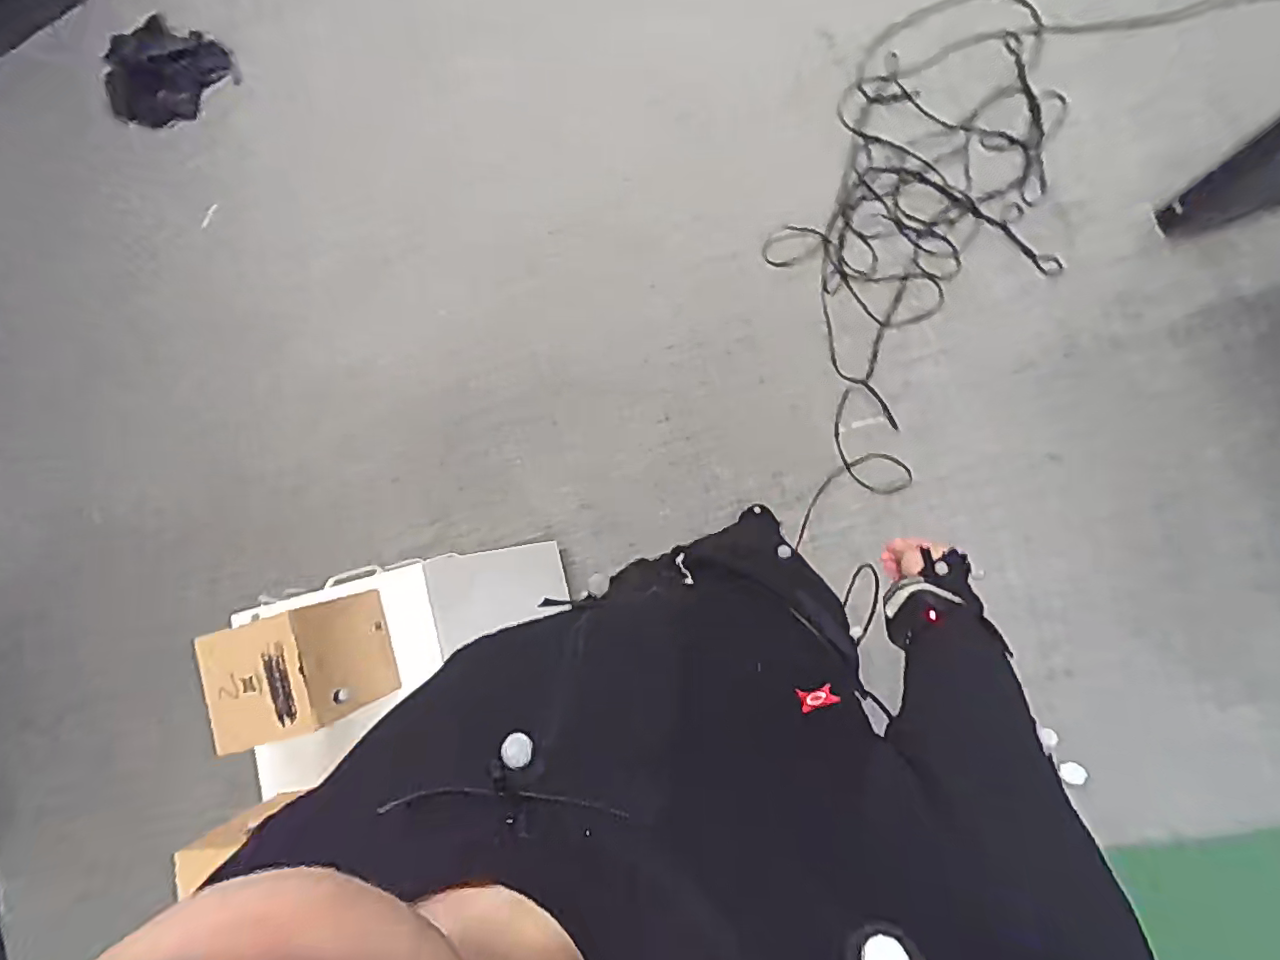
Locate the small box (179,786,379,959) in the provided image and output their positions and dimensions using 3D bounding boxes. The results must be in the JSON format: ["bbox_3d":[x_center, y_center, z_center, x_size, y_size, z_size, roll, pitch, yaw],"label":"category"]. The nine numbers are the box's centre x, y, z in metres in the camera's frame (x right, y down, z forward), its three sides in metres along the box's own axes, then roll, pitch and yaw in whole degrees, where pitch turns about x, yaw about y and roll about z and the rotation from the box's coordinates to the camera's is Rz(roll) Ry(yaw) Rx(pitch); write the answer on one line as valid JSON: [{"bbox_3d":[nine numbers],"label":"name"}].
[{"bbox_3d":[-0.525,0.583,0.802,0.179,0.176,0.168,-14,83,12],"label":"small box"}]
